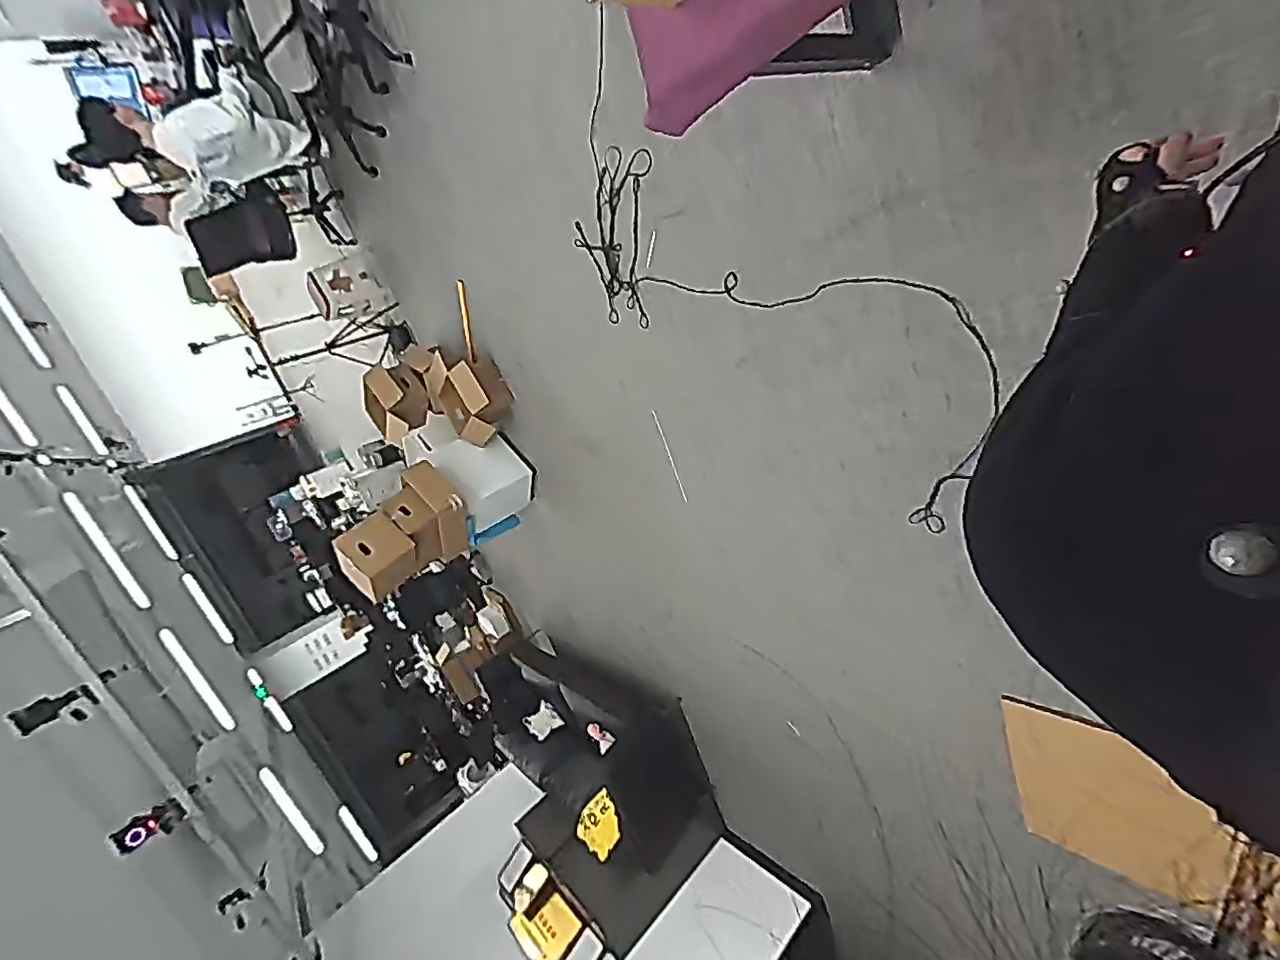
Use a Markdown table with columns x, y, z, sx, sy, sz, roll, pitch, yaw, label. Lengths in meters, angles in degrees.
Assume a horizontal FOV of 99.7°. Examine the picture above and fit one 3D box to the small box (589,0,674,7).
| x | y | z | sx | sy | sz | roll | pitch | yaw | label |
| --- | --- | --- | --- | --- | --- | --- | --- | --- | --- |
| 0.023 | -0.740 | 0.682 | 0.168 | 0.176 | 0.179 | 13 | 126 | 47 | small box |
